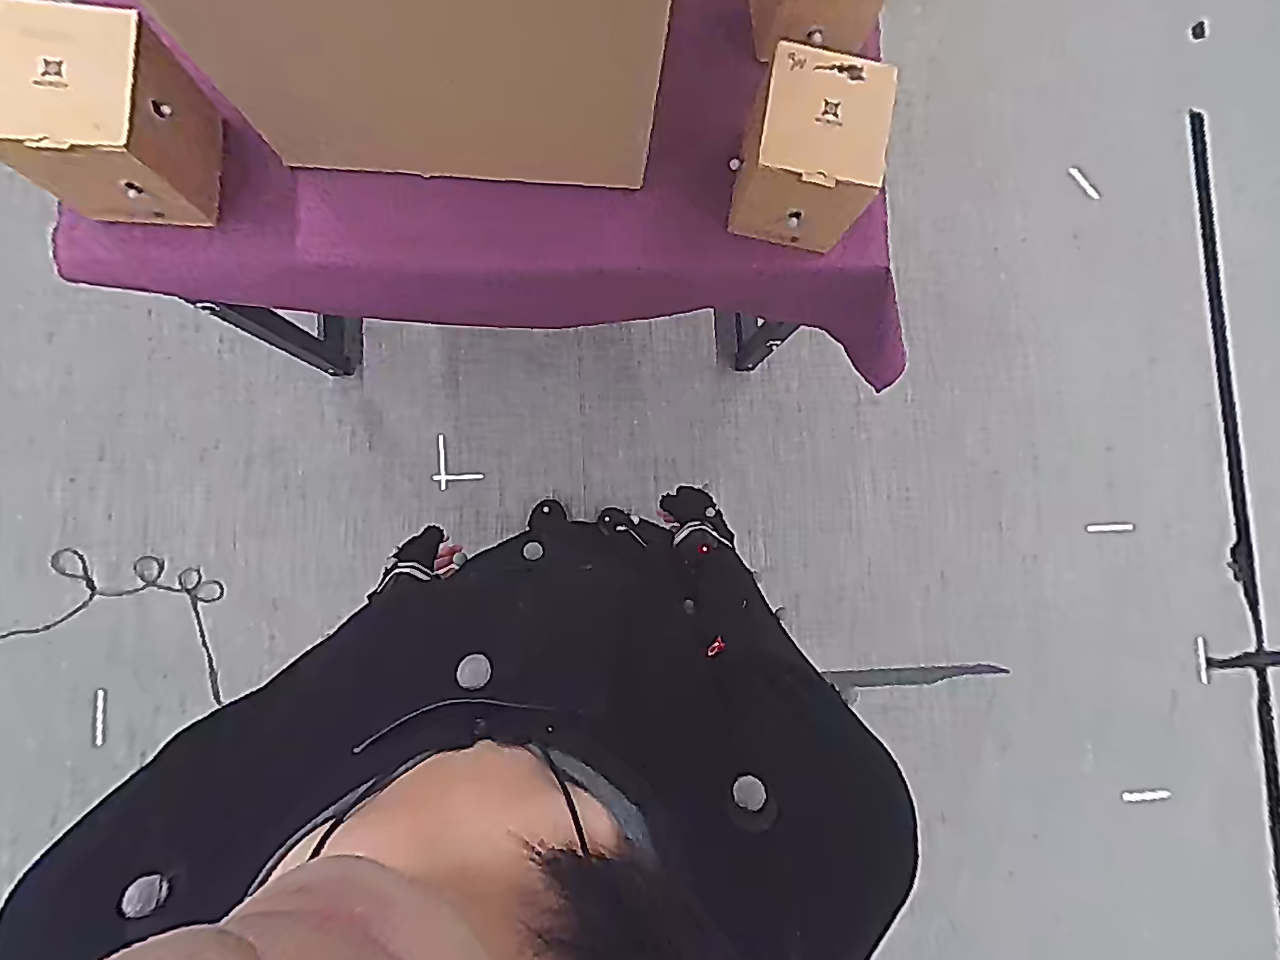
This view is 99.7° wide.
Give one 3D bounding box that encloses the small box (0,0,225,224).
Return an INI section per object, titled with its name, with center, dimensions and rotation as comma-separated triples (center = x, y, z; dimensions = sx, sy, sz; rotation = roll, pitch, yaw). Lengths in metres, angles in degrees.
[small box]
center = -0.675, -0.456, 0.695
dimensions = 0.168, 0.176, 0.179
rotation = 0, 84, -8
